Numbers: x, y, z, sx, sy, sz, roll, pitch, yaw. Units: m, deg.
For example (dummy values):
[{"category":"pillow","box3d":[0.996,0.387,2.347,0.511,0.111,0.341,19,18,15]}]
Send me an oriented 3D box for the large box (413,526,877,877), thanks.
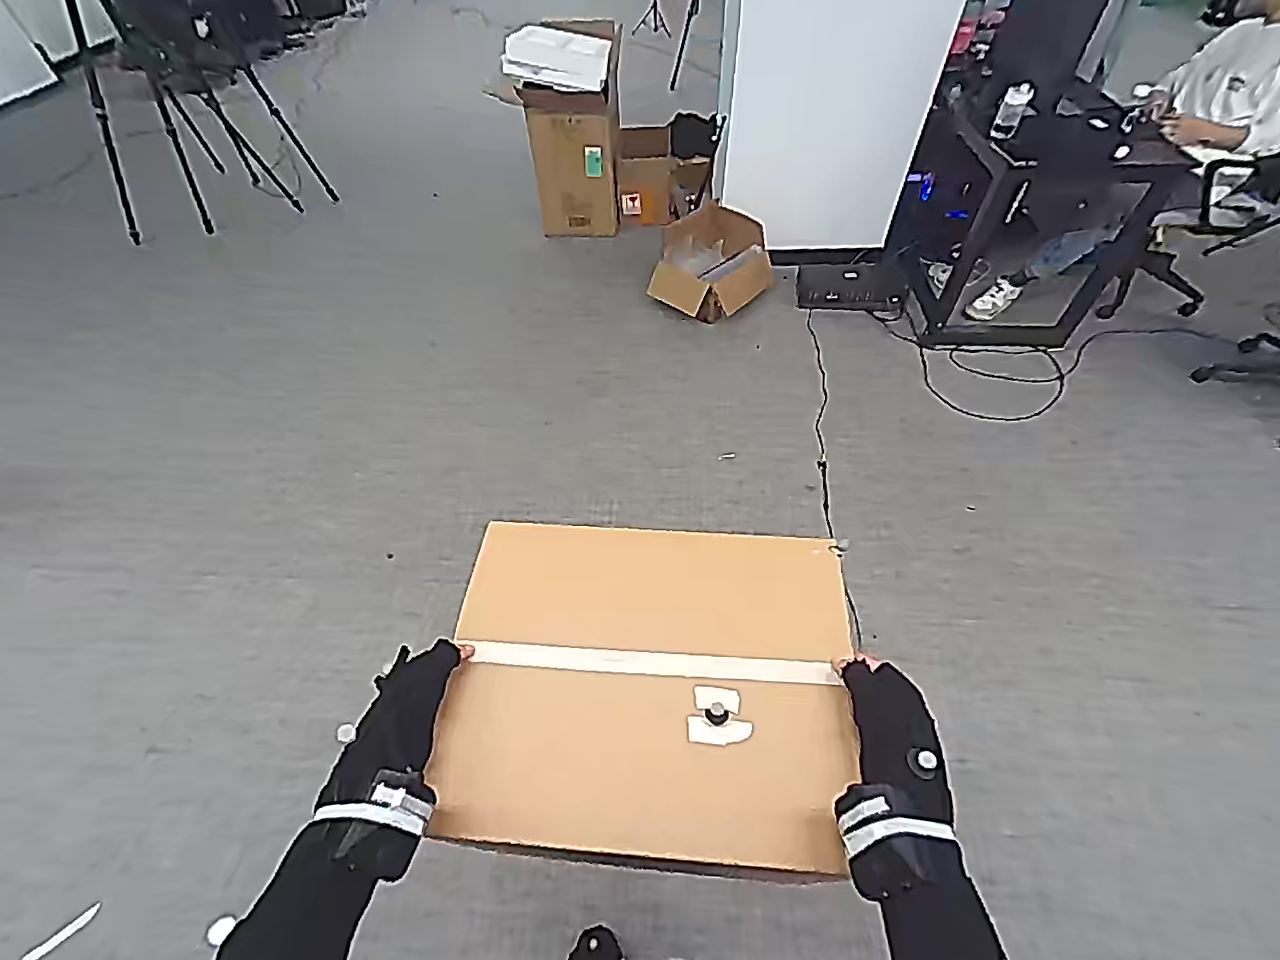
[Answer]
[{"category":"large box","box3d":[0.011,0.275,0.661,0.408,0.320,0.320,3,53,4]}]
